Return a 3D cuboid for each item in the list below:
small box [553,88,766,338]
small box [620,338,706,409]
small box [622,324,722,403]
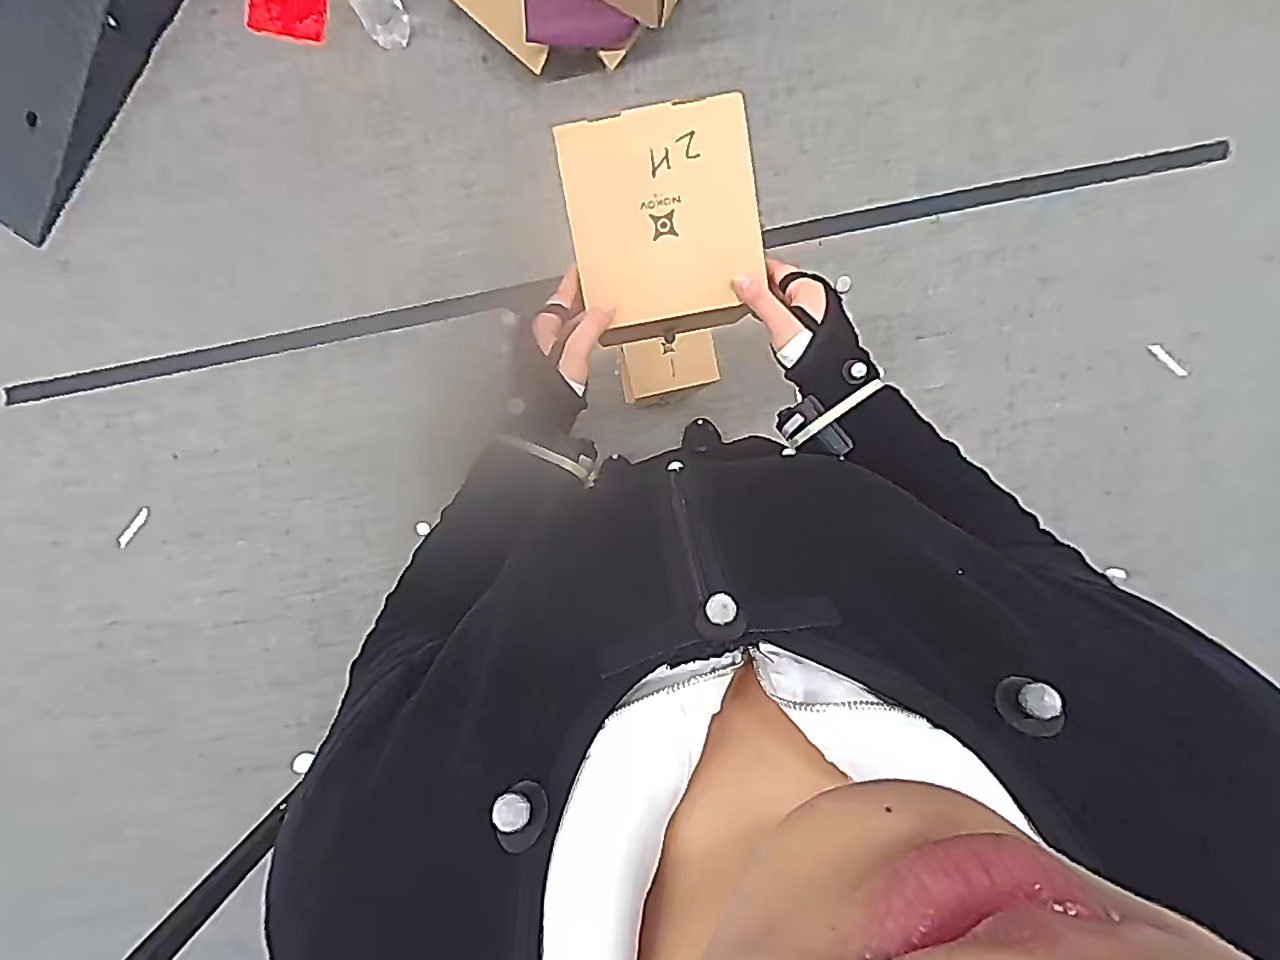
[{"bbox_3d":[0.021,-0.247,0.550,0.168,0.176,0.179,-10,98,2],"label":"small box"},{"bbox_3d":[0.049,-0.269,1.232,0.168,0.176,0.179,-13,93,1],"label":"small box"},{"bbox_3d":[0.054,-0.257,1.067,0.168,0.176,0.179,-13,95,1],"label":"small box"}]
